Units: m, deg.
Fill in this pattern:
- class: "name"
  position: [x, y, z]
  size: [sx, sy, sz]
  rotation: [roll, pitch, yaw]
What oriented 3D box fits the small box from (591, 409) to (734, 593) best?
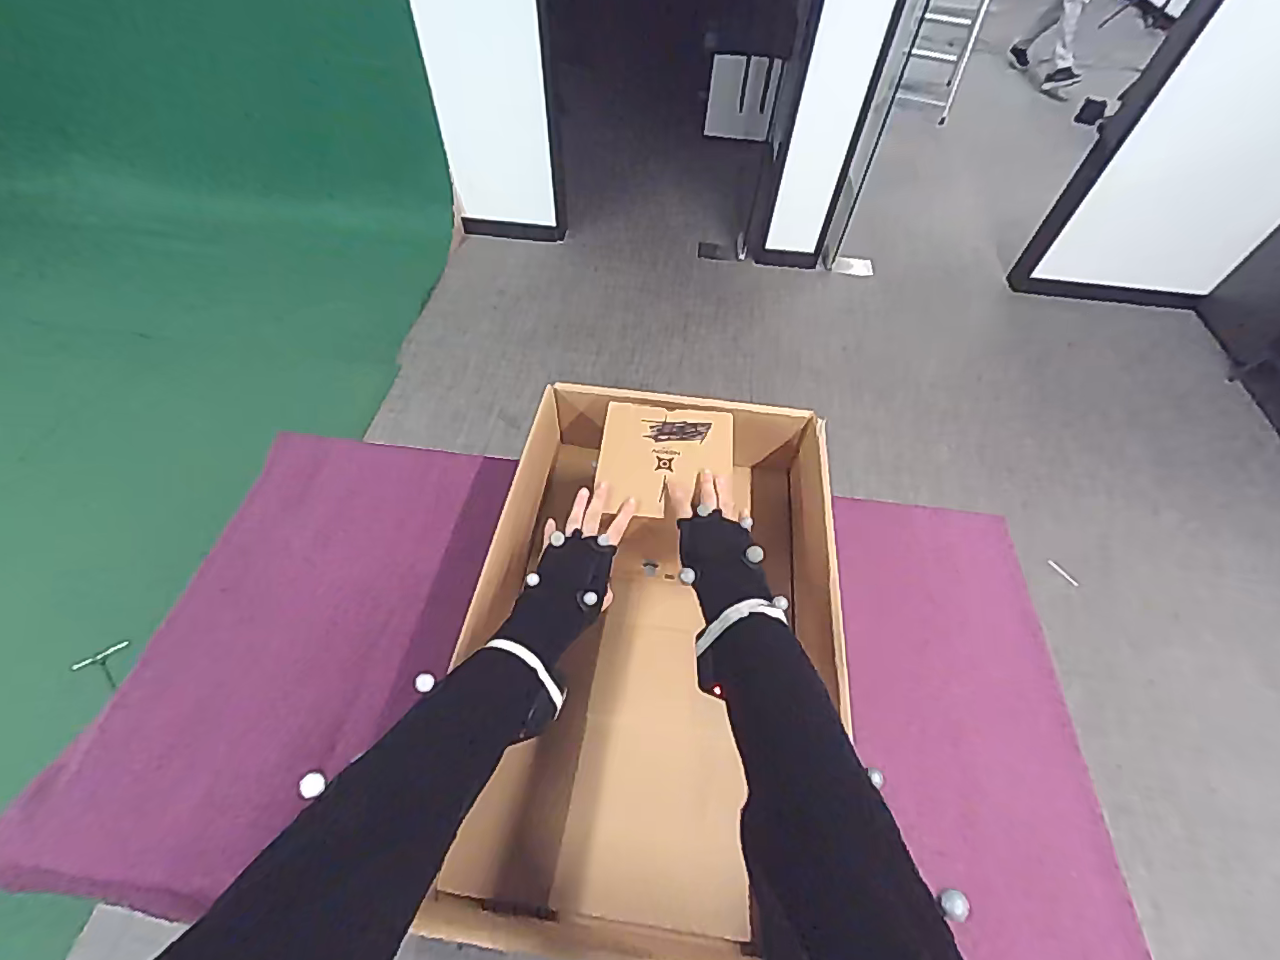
- class: "small box"
  position: [0.030, 0.031, 0.728]
  size: [0.168, 0.176, 0.179]
  rotation: [6, 55, 2]
